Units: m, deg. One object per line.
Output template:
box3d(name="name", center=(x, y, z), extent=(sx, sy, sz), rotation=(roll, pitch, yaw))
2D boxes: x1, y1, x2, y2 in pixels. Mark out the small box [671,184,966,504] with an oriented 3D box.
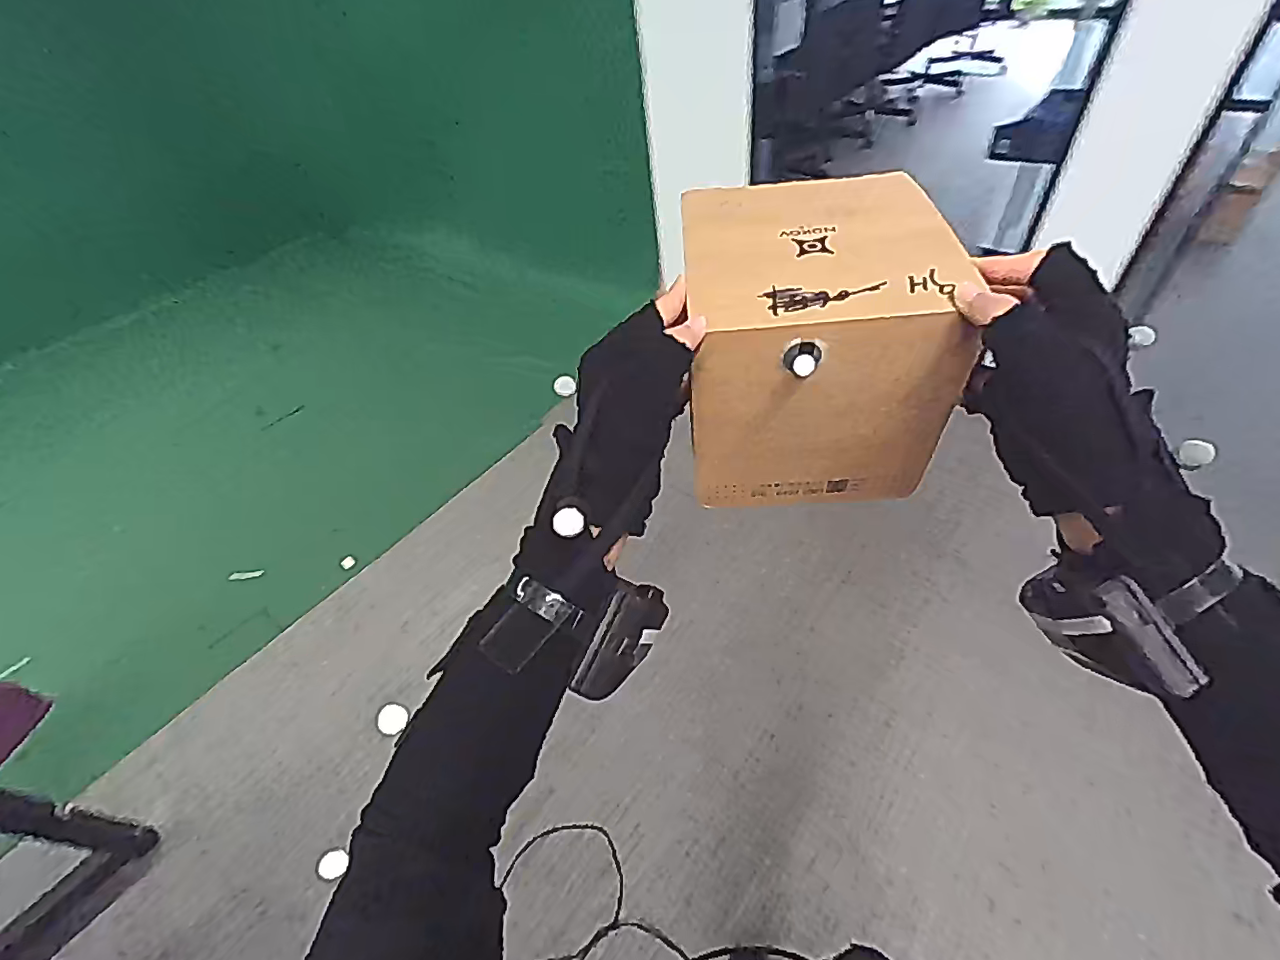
box3d(name="small box", center=(0.110, -0.101, 0.419), extent=(0.168, 0.176, 0.179), rotation=(-3, 49, 6))
